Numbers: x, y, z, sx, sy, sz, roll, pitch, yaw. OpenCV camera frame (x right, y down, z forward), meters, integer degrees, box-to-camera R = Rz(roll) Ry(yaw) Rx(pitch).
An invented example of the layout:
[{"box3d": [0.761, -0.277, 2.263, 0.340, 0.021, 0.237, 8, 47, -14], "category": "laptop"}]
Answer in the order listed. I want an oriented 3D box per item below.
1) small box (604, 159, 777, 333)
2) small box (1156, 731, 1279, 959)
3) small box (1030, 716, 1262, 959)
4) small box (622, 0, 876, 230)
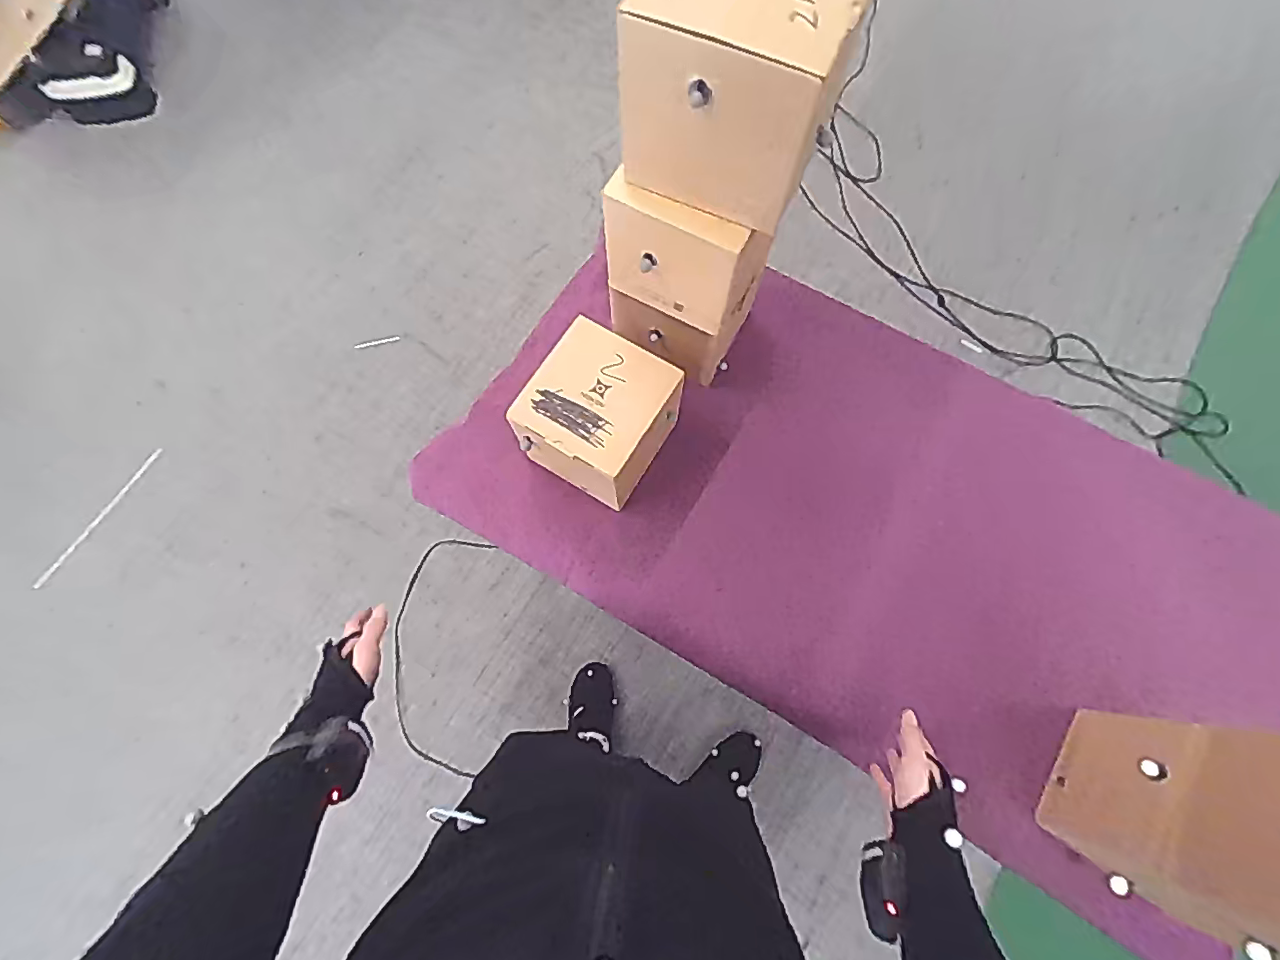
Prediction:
[{"box3d": [0.073, -0.316, 0.671, 0.168, 0.176, 0.179, 28, 75, 8], "category": "small box"}, {"box3d": [0.620, 0.348, 0.471, 0.168, 0.176, 0.179, 34, 76, 12], "category": "small box"}, {"box3d": [0.615, 0.399, 0.627, 0.179, 0.176, 0.168, 34, 75, 10], "category": "small box"}, {"box3d": [0.096, -0.378, 0.518, 0.179, 0.176, 0.168, 25, 75, 7], "category": "small box"}]
